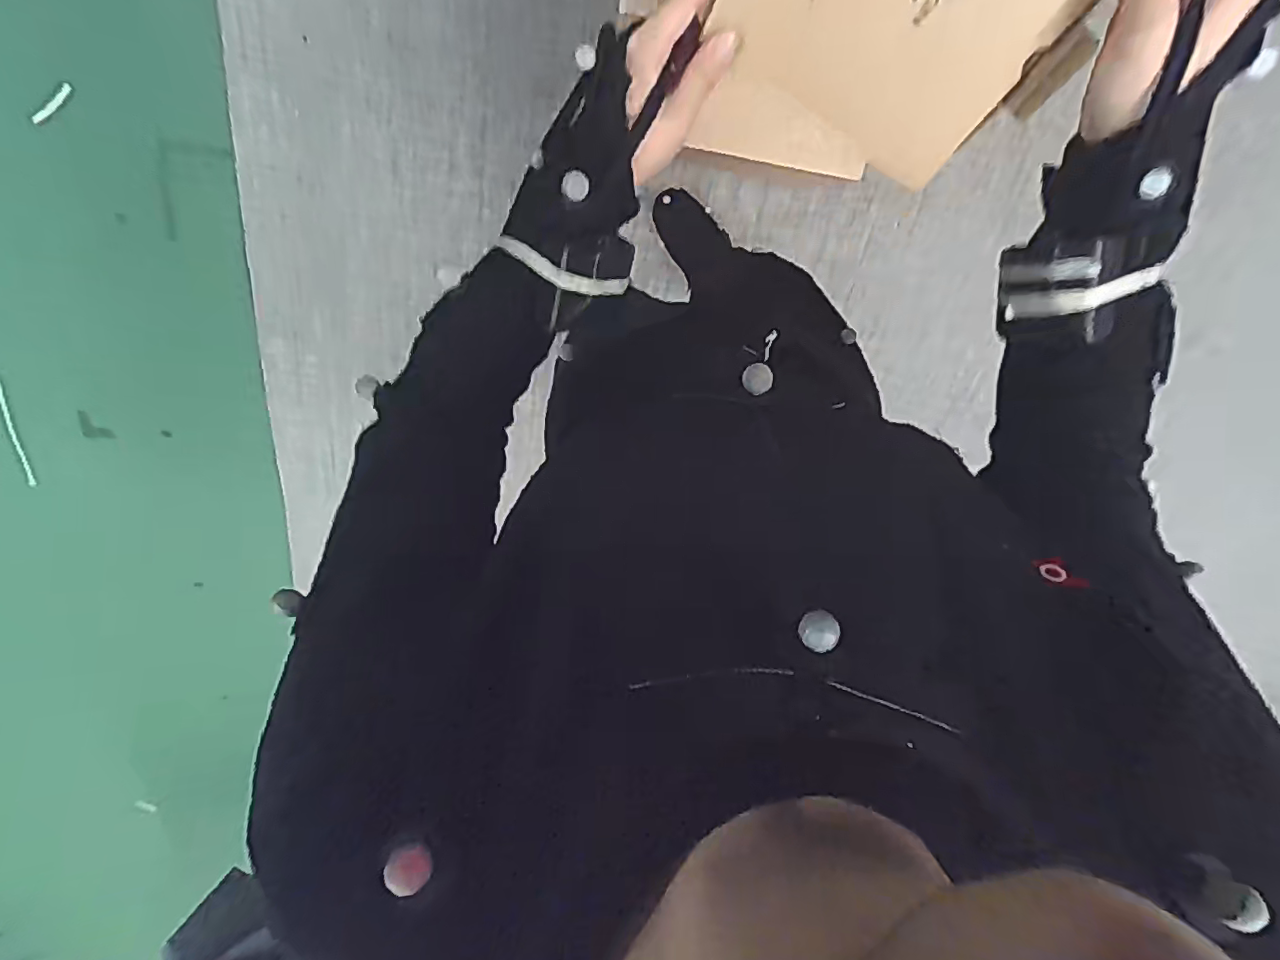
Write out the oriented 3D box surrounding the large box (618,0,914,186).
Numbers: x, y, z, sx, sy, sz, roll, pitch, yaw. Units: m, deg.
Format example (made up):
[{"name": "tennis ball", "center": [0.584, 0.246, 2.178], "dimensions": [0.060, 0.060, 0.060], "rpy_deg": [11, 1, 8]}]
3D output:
[{"name": "large box", "center": [0.179, -0.707, 0.916], "dimensions": [0.408, 0.320, 0.320], "rpy_deg": [8, 117, -5]}]
